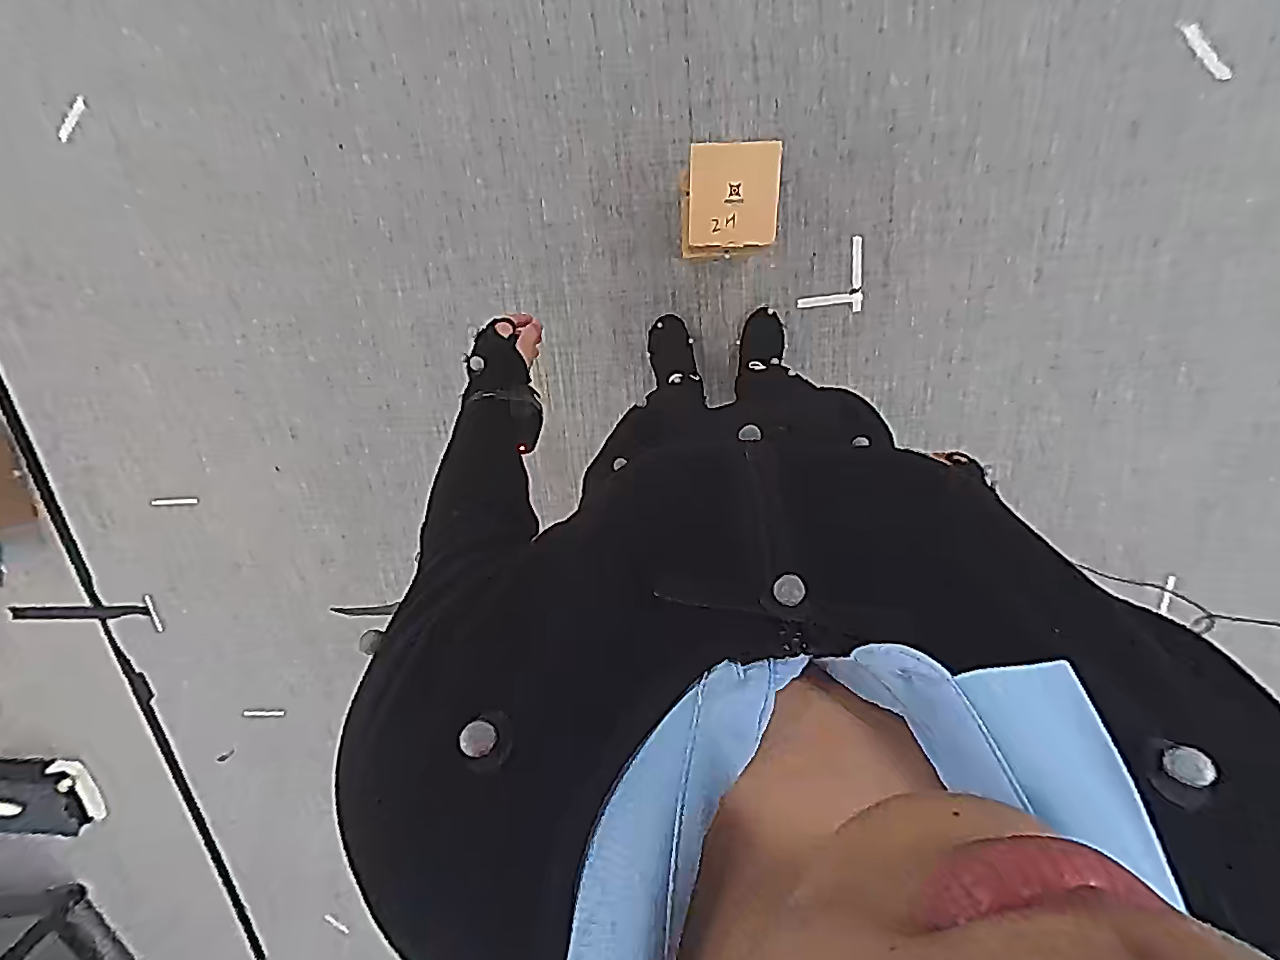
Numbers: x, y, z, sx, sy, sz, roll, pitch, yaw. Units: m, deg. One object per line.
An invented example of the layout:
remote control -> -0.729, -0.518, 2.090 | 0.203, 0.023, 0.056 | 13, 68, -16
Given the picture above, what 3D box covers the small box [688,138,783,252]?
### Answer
small box -> 0.180, -0.553, 1.070 | 0.168, 0.176, 0.179 | 2, 109, 5
